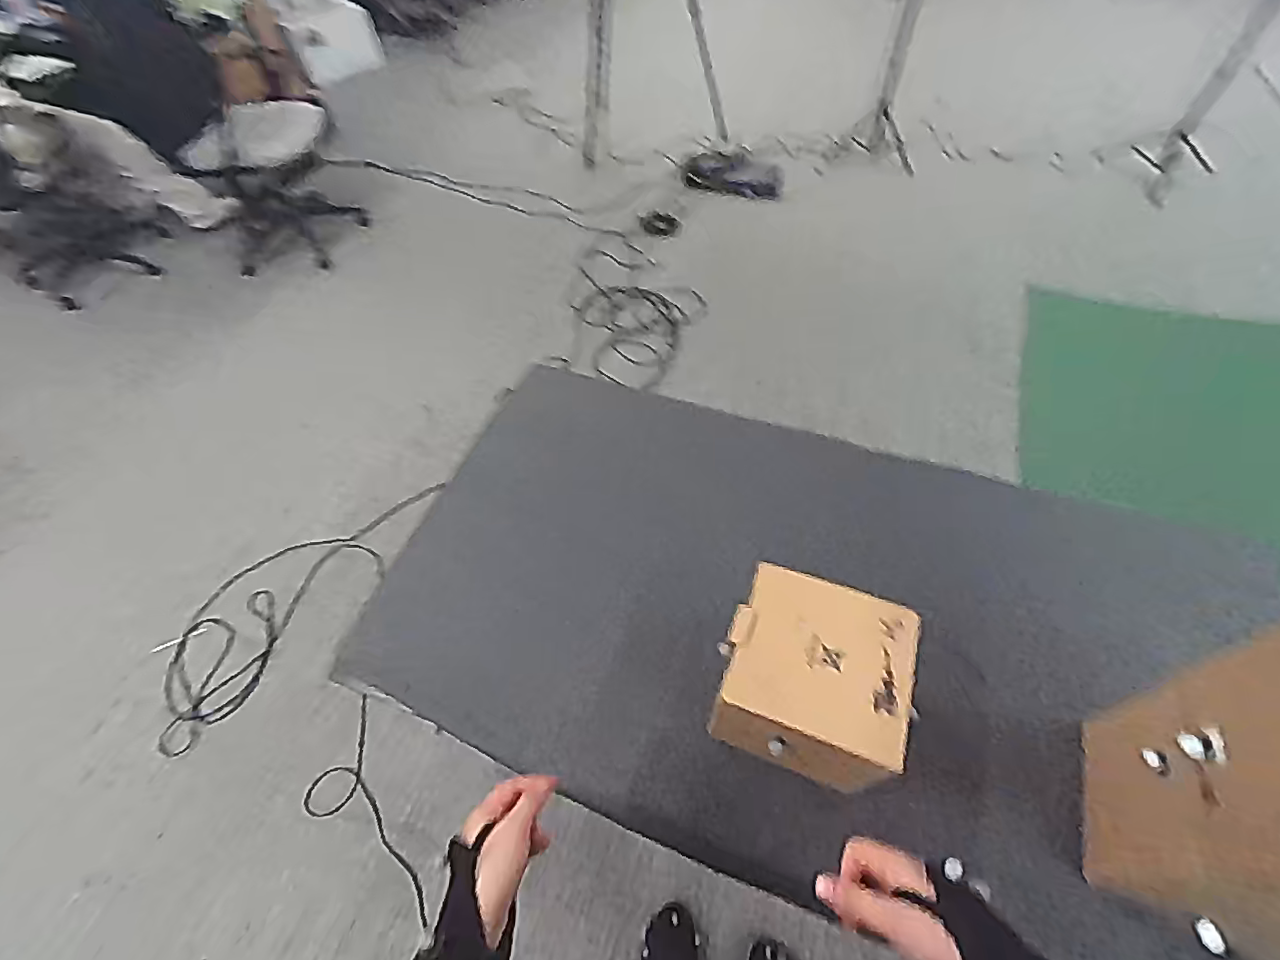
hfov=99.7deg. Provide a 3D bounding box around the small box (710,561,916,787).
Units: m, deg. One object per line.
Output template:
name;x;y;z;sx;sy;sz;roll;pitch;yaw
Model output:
small box;0.186;0.224;0.616;0.179;0.176;0.168;17;56;16

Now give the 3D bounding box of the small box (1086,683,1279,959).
small box;0.563;0.330;0.511;0.168;0.176;0.179;20;57;18
